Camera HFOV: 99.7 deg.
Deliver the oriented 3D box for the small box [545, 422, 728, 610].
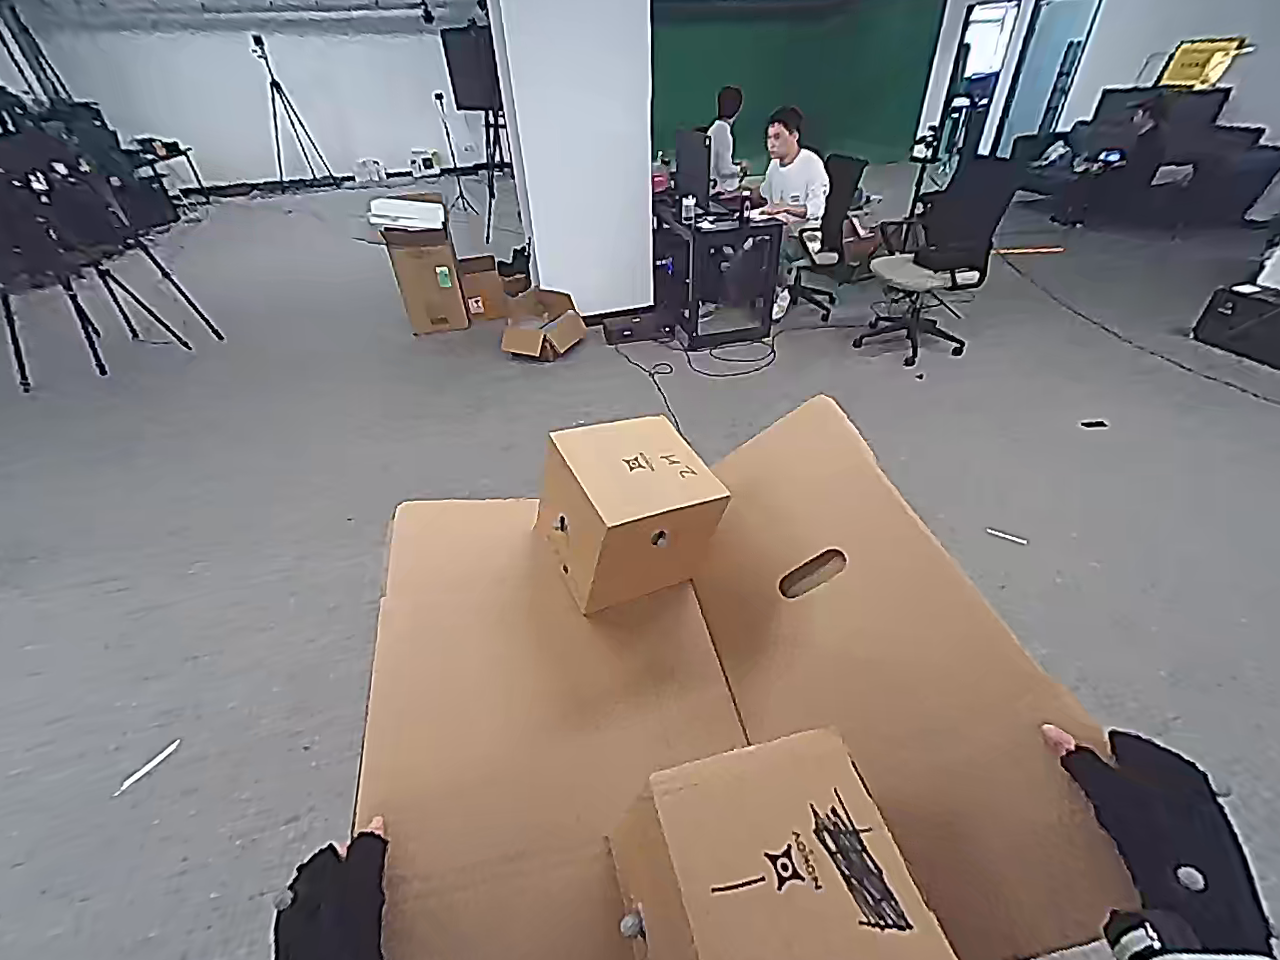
[{"bbox_3d":[-0.018,0.046,0.719,0.179,0.176,0.168,-12,49,-30],"label":"small box"}]
